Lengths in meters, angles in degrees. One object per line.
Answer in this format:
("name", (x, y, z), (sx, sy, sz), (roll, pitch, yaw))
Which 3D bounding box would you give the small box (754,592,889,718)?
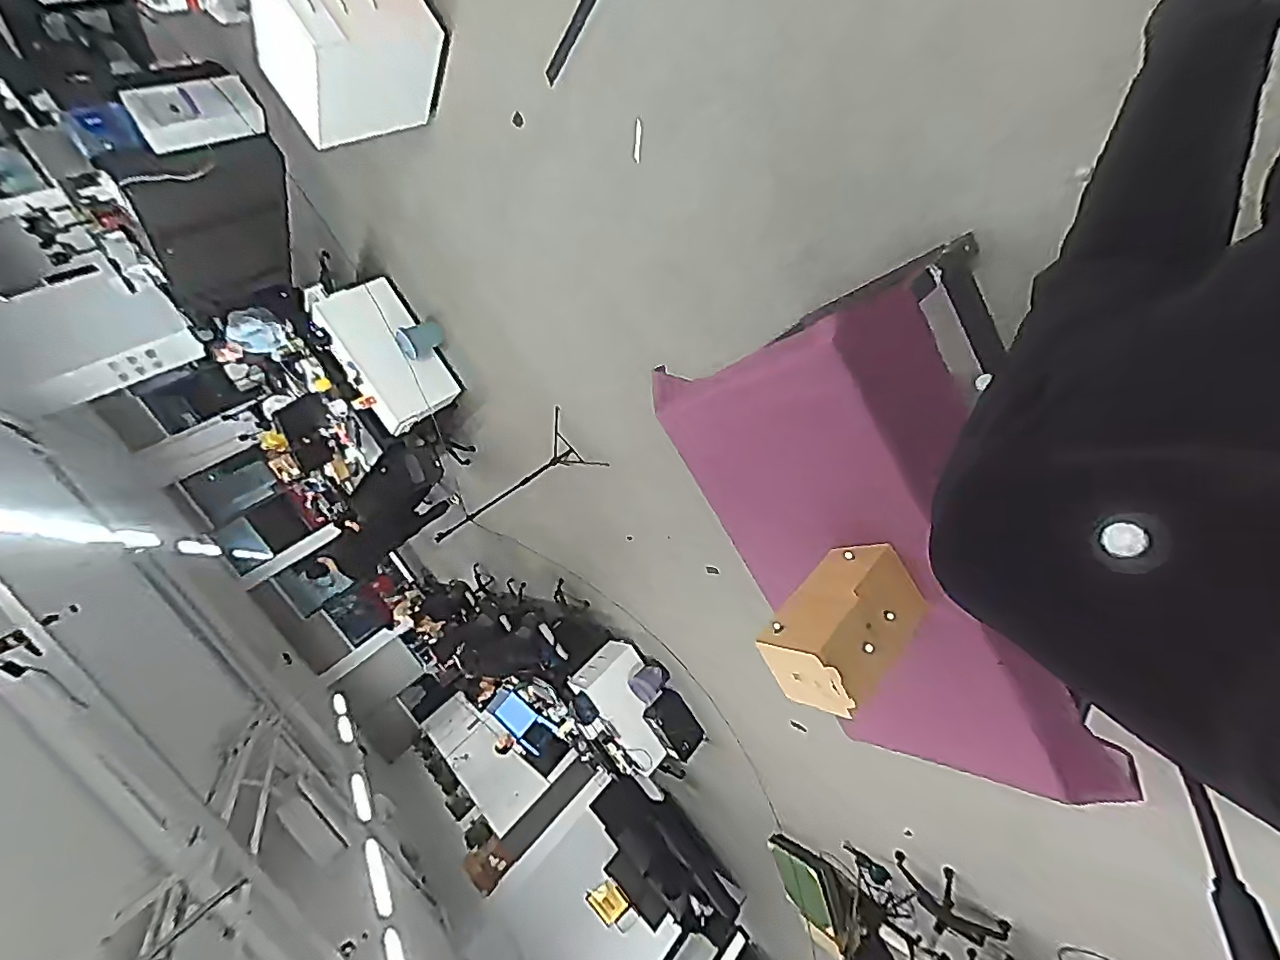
("small box", (0.380, 0.353, 1.130), (0.179, 0.176, 0.168), (-10, 114, 57))

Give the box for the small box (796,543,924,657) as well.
("small box", (0.494, 0.263, 1.208), (0.179, 0.176, 0.168), (57, 150, -7))
